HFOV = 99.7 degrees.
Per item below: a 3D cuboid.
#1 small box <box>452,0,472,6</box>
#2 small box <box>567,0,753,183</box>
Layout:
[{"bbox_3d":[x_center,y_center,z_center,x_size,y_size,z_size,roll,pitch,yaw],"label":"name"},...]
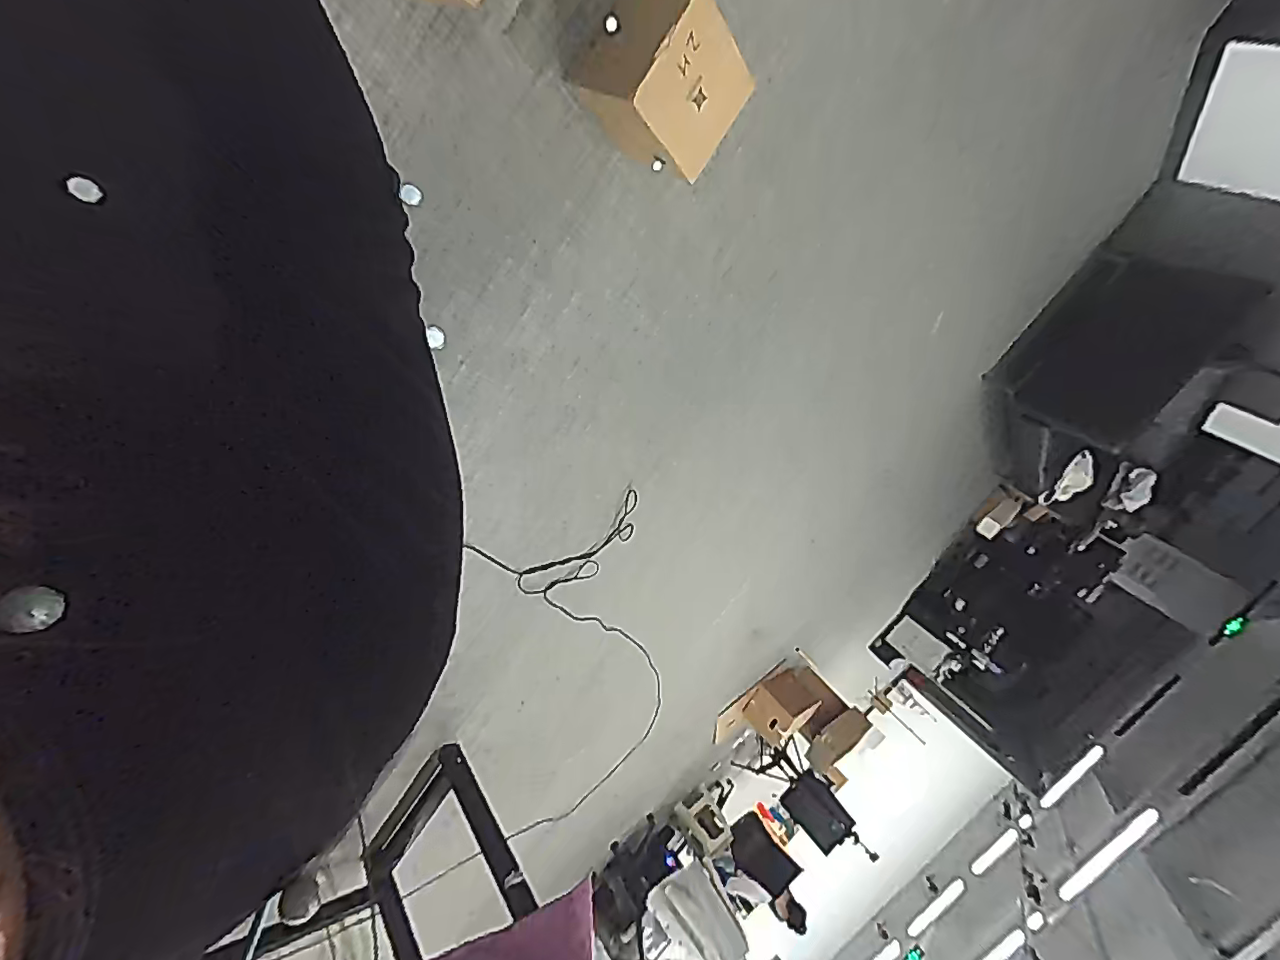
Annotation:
[{"bbox_3d":[-0.240,-0.599,0.505,0.168,0.176,0.179,-1,126,-46],"label":"small box"},{"bbox_3d":[0.028,-0.587,0.799,0.168,0.176,0.179,-55,145,11],"label":"small box"}]
